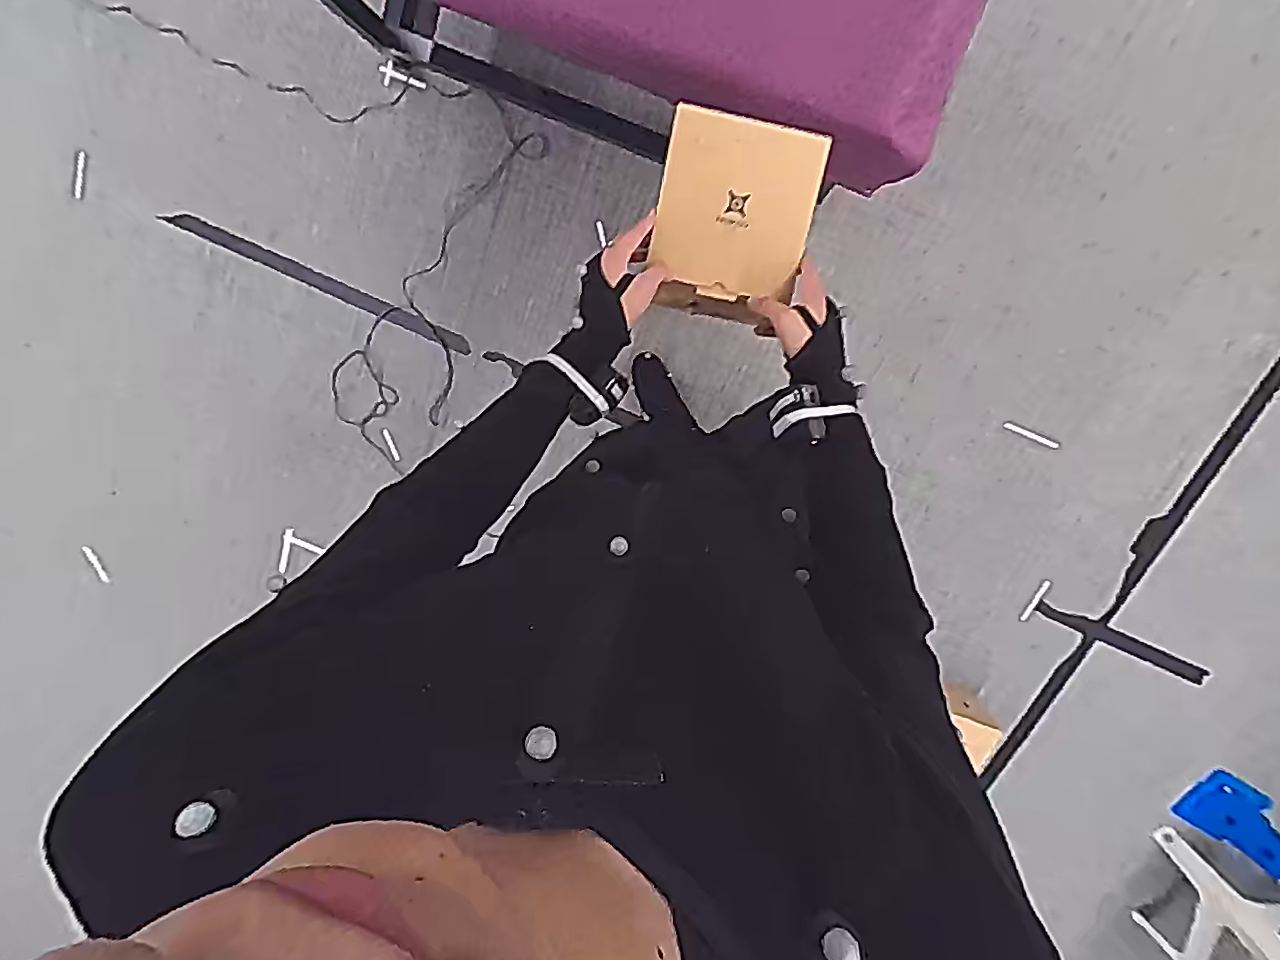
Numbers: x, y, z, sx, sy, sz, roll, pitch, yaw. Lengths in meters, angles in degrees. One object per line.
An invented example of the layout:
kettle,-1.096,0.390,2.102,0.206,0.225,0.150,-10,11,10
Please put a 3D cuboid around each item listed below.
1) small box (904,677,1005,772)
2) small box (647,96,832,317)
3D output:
small box,0.926,0.720,1.613,0.179,0.176,0.168,21,106,1
small box,0.103,-0.307,0.647,0.168,0.176,0.179,12,100,-2
